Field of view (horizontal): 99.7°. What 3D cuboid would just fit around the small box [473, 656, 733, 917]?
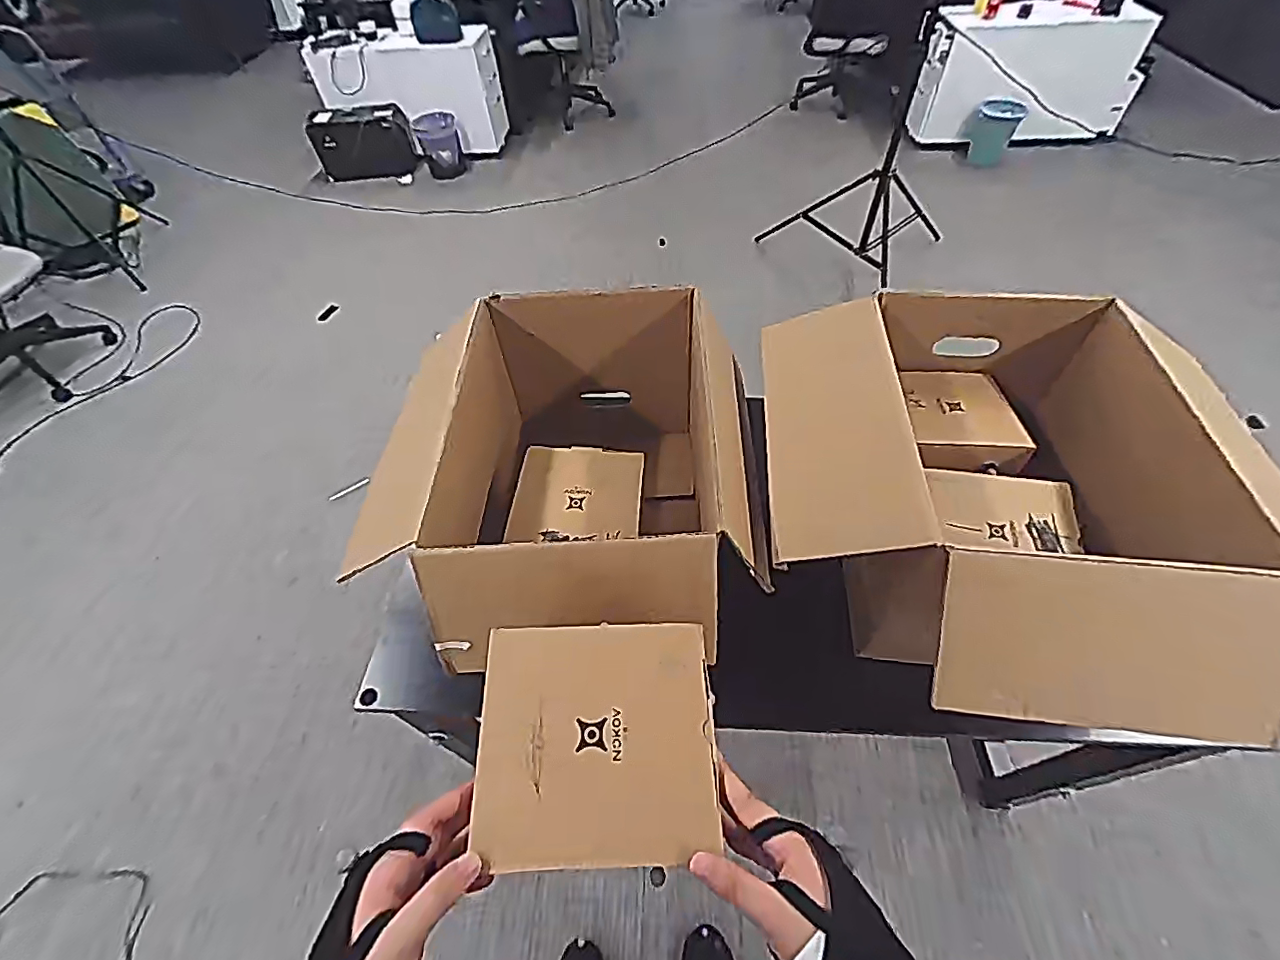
[{"bbox_3d":[-0.028,0.260,0.468,0.179,0.176,0.168,-3,56,-2],"label":"small box"}]
